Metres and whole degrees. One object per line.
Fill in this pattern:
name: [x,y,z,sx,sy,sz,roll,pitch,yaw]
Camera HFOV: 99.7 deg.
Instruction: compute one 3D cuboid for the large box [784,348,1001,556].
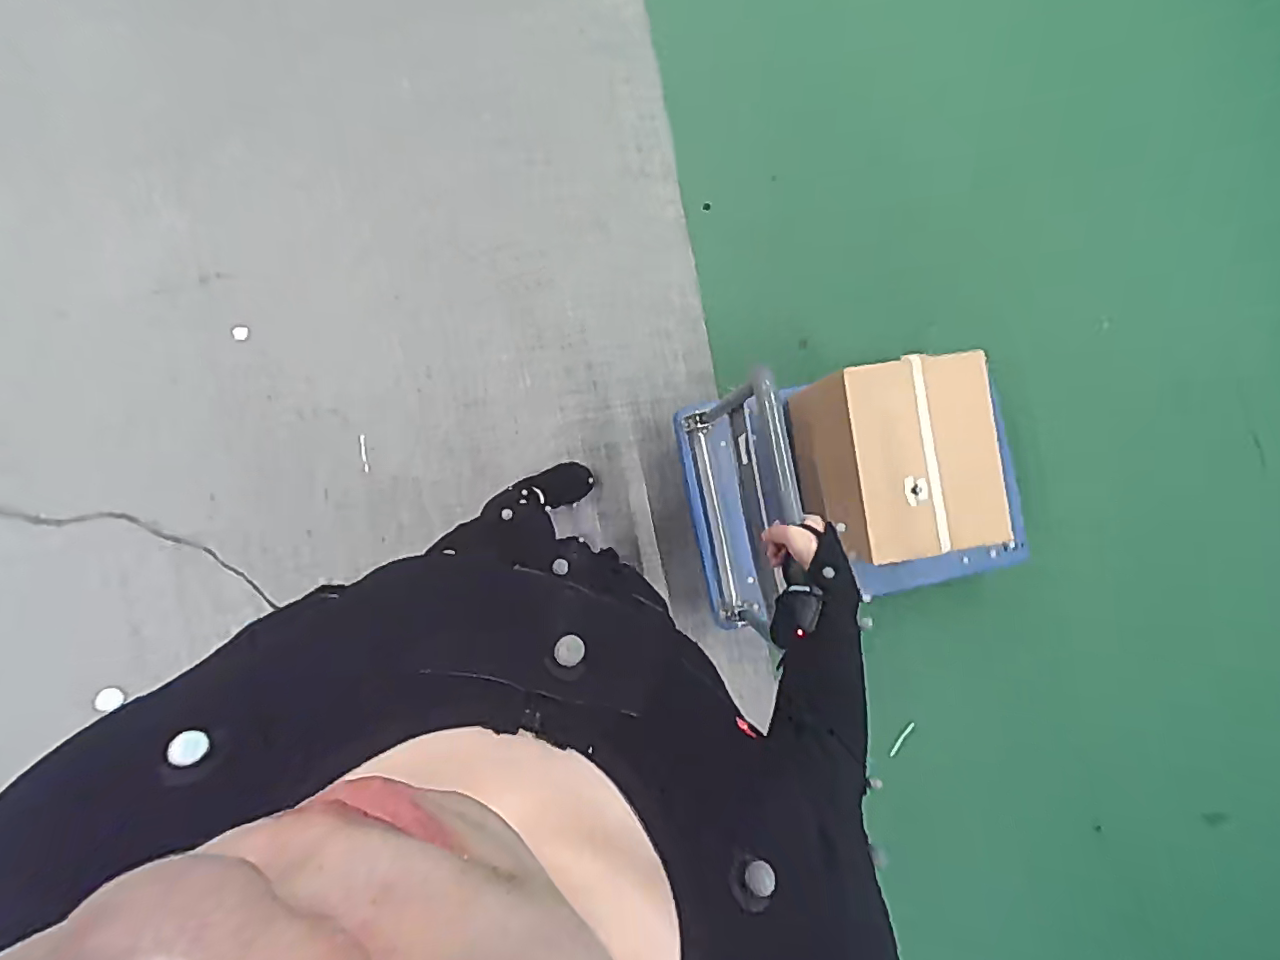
large box: [0.565,-0.059,1.270,0.320,0.320,0.408,-8,90,-6]
